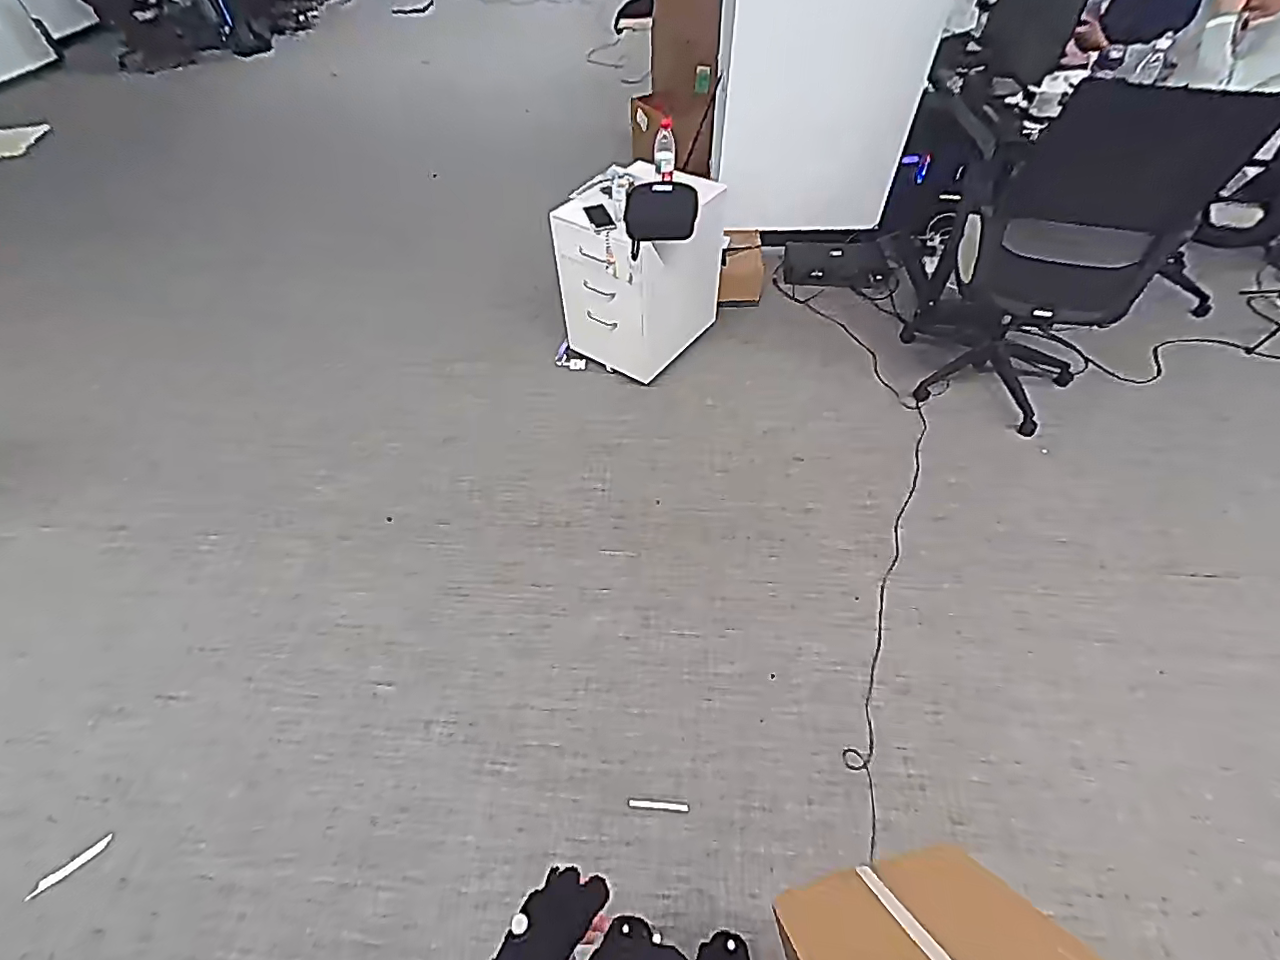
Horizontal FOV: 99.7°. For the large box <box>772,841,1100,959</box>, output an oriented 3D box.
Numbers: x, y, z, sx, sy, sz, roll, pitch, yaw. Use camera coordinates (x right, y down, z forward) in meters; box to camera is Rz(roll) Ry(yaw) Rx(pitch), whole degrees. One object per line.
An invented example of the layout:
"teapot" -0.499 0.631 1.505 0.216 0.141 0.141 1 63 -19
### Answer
"large box" 0.402 0.735 0.658 0.320 0.408 0.320 -14 81 -5
